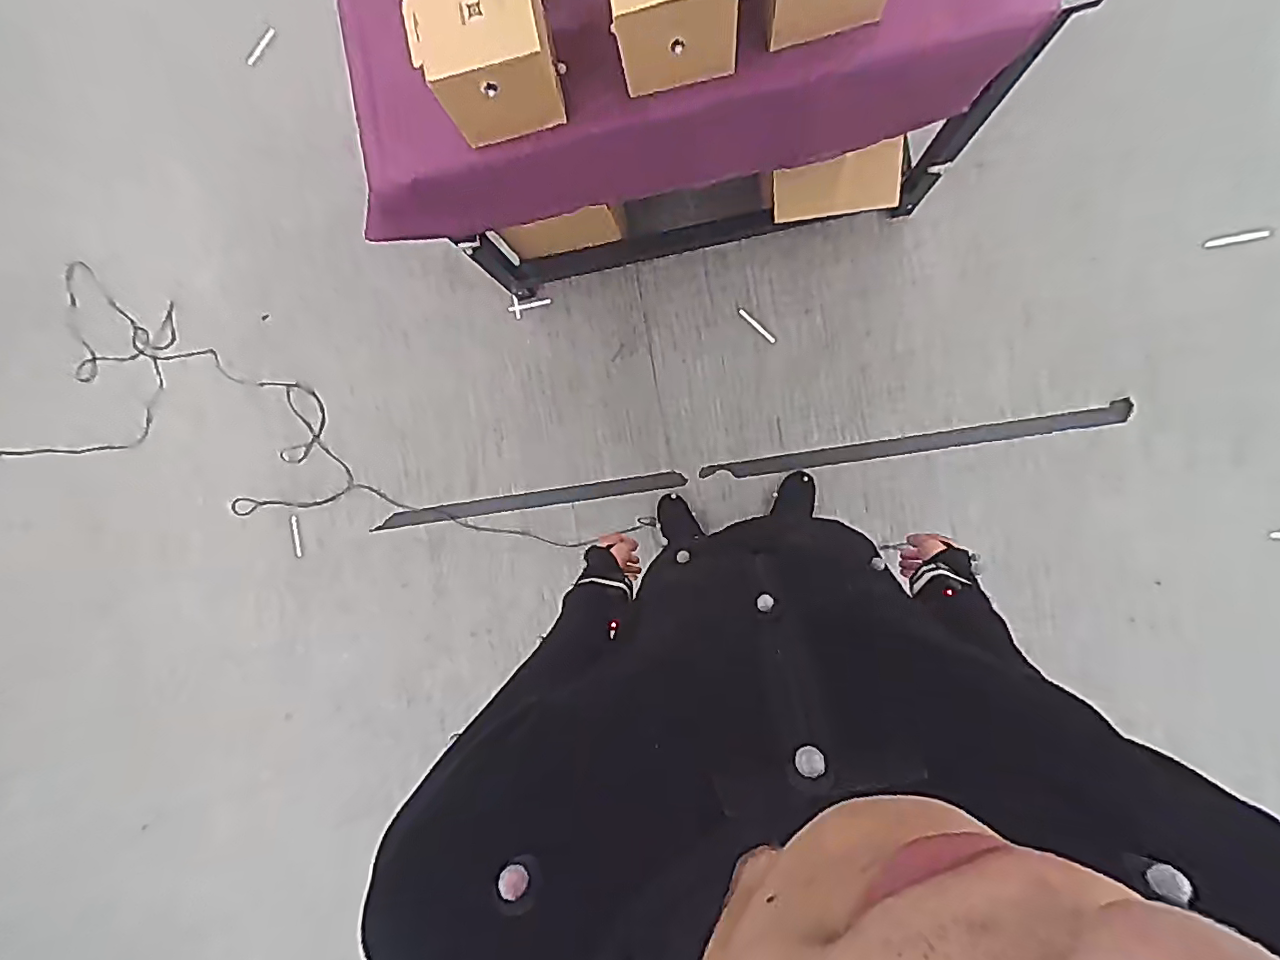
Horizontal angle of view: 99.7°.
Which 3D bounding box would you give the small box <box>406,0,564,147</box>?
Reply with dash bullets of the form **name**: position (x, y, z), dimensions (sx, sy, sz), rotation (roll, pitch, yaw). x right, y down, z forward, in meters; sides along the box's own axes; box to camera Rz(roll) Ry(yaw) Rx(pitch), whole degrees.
- **small box**: position (-0.235, -0.661, 0.845), dimensions (0.179, 0.176, 0.168), rotation (-11, 91, 6)
